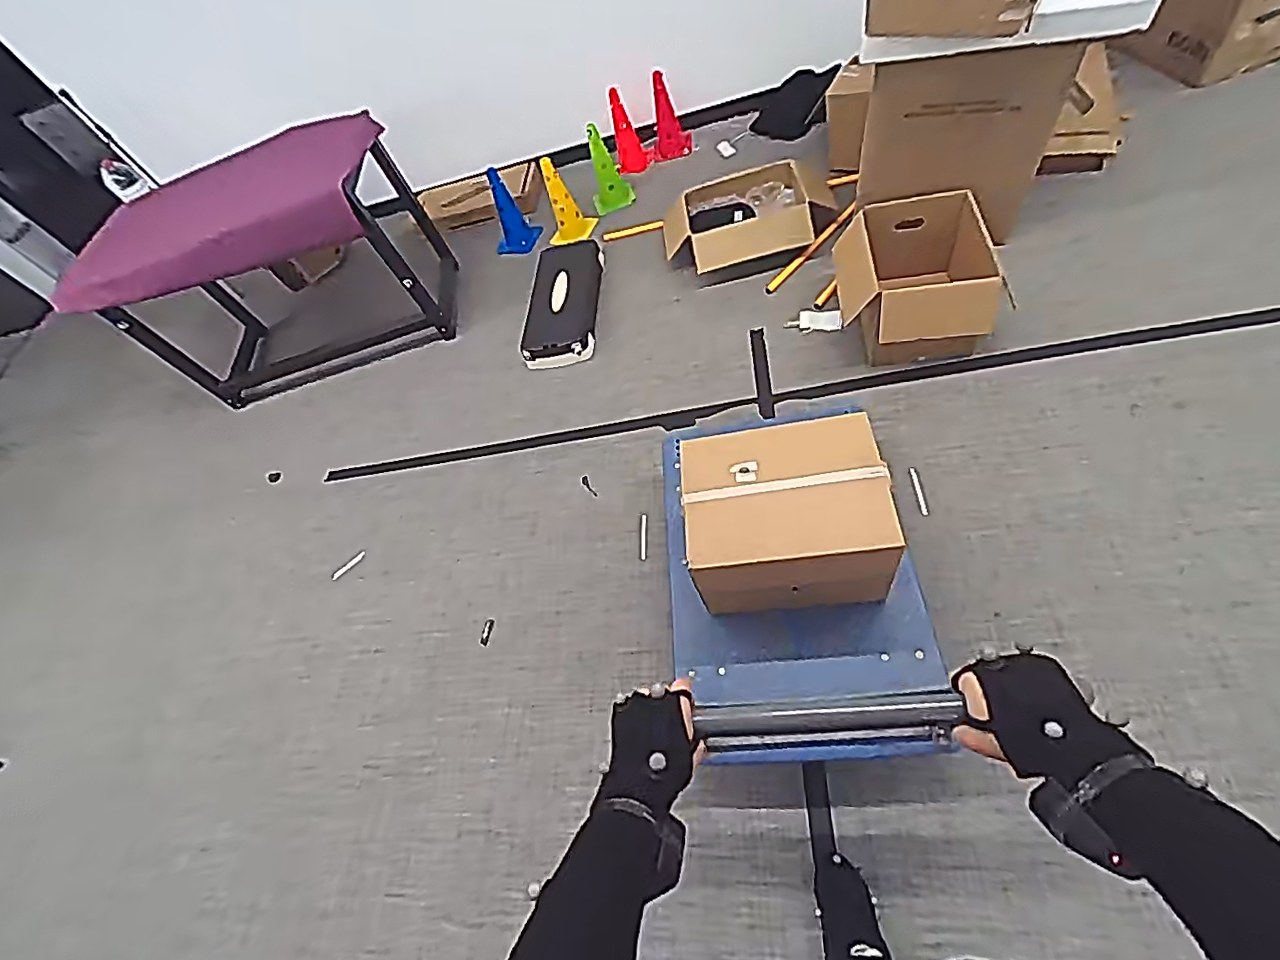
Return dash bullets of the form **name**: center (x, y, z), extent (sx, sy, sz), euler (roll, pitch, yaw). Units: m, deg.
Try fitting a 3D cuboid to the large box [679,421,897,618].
- **large box**: center (0.326, 0.109, 1.247), extent (0.408, 0.320, 0.320), euler (-9, 56, 13)
